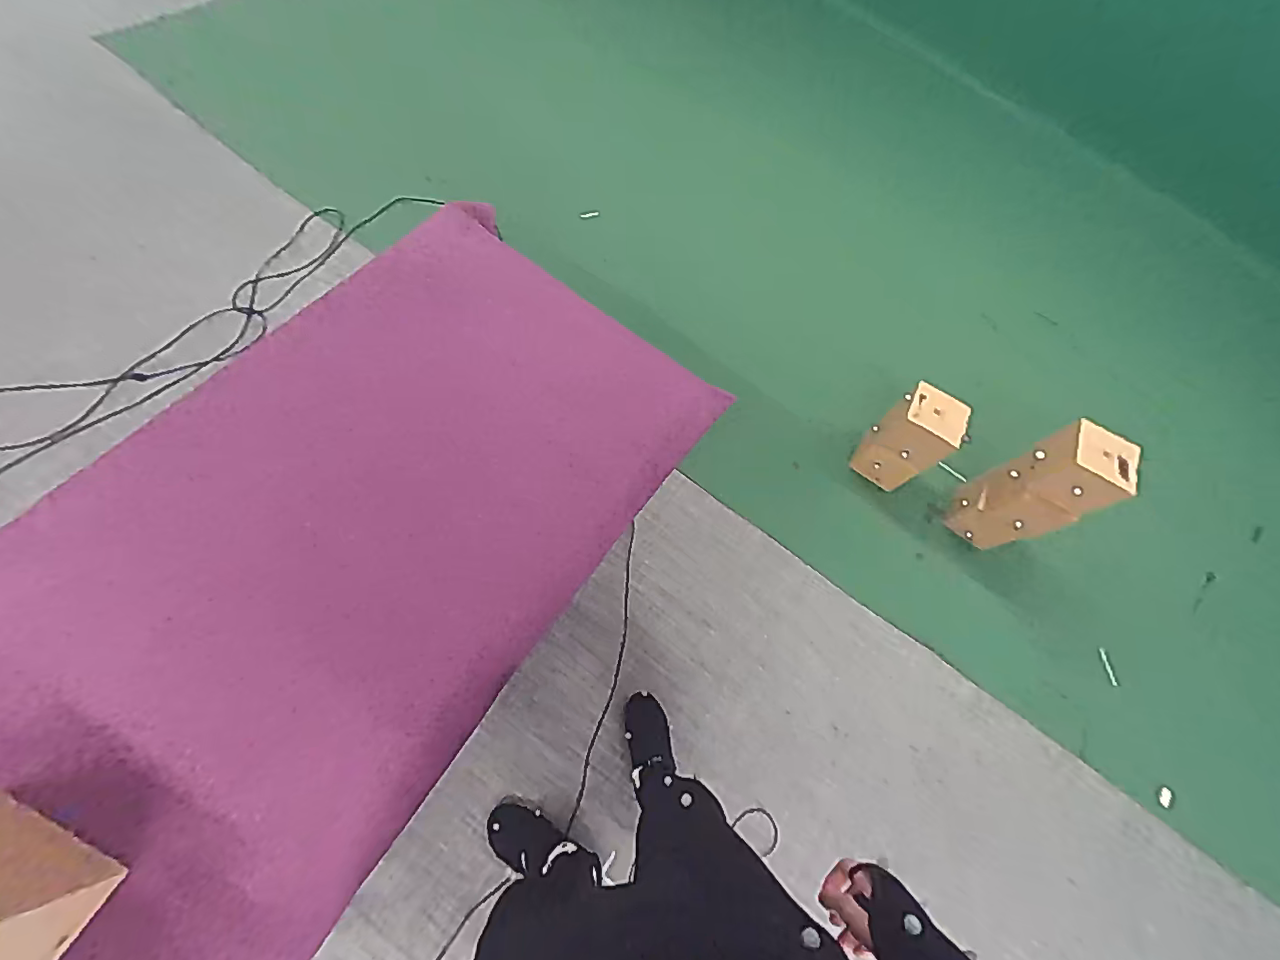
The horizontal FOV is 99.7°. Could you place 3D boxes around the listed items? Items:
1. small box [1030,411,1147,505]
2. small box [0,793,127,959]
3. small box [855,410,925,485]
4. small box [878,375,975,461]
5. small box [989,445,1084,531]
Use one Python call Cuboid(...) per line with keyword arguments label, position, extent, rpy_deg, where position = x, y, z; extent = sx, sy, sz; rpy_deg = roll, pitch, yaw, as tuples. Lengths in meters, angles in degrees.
Cuboid(label="small box", position=(1.230, -0.051, 1.489), extent=(0.179, 0.176, 0.168), rpy_deg=(29, 65, 3))
Cuboid(label="small box", position=(-0.654, 0.411, 0.492), extent=(0.179, 0.176, 0.168), rpy_deg=(30, 66, 2))
Cuboid(label="small box", position=(0.850, -0.113, 1.807), extent=(0.168, 0.176, 0.179), rpy_deg=(34, 65, 5))
Cuboid(label="small box", position=(0.875, -0.181, 1.660), extent=(0.179, 0.176, 0.168), rpy_deg=(32, 64, 3))
Cuboid(label="small box", position=(1.194, 0.027, 1.631), extent=(0.168, 0.176, 0.179), rpy_deg=(27, 65, 2))
